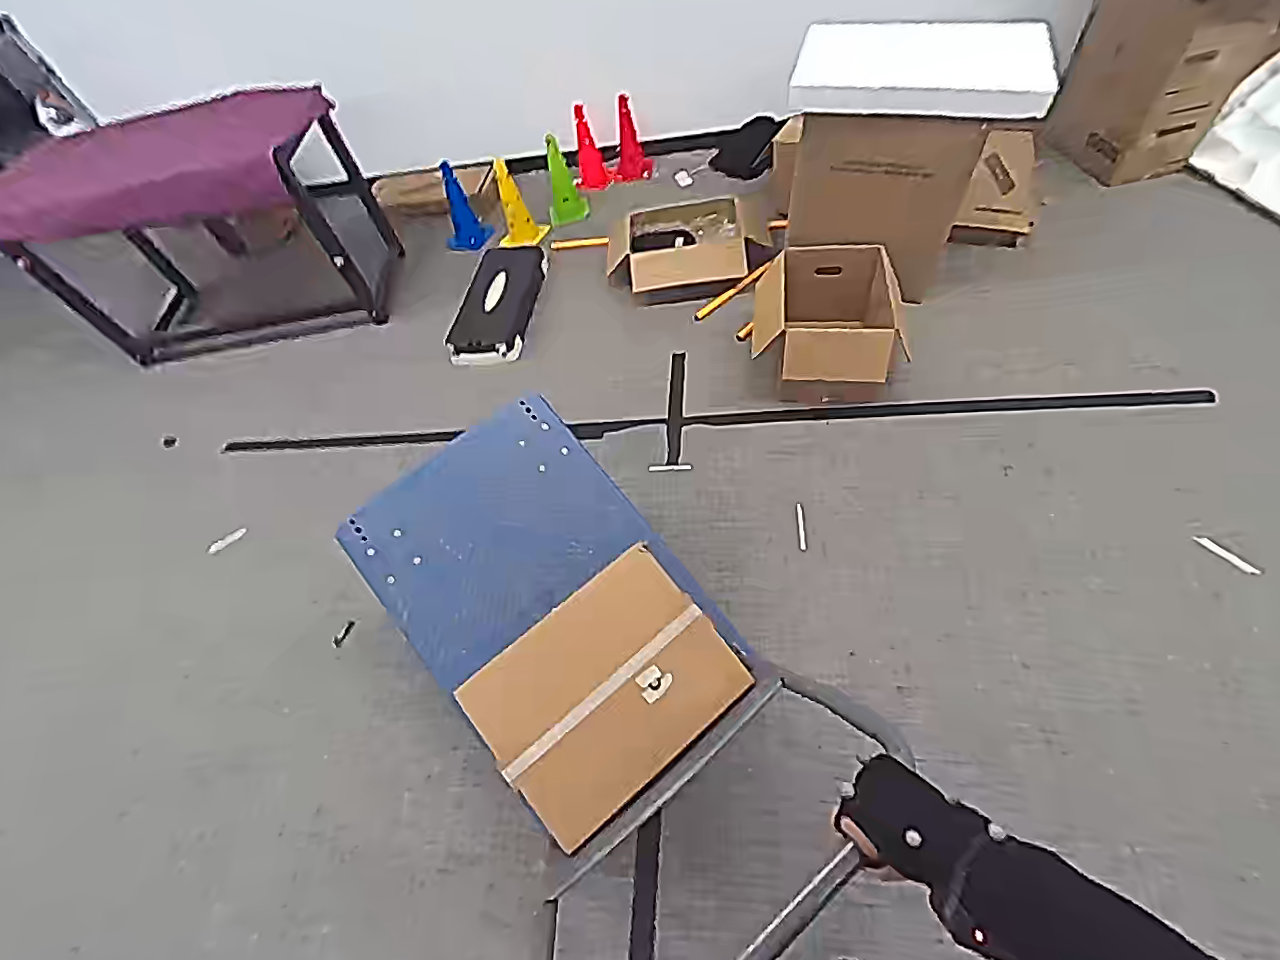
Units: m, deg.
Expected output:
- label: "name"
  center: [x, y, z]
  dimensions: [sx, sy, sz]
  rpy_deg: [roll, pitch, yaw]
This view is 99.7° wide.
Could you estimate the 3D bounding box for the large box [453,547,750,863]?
- label: "large box"
  center: [-0.068, 0.393, 1.031]
  dimensions: [0.408, 0.320, 0.320]
  rpy_deg: [-39, 81, -13]
